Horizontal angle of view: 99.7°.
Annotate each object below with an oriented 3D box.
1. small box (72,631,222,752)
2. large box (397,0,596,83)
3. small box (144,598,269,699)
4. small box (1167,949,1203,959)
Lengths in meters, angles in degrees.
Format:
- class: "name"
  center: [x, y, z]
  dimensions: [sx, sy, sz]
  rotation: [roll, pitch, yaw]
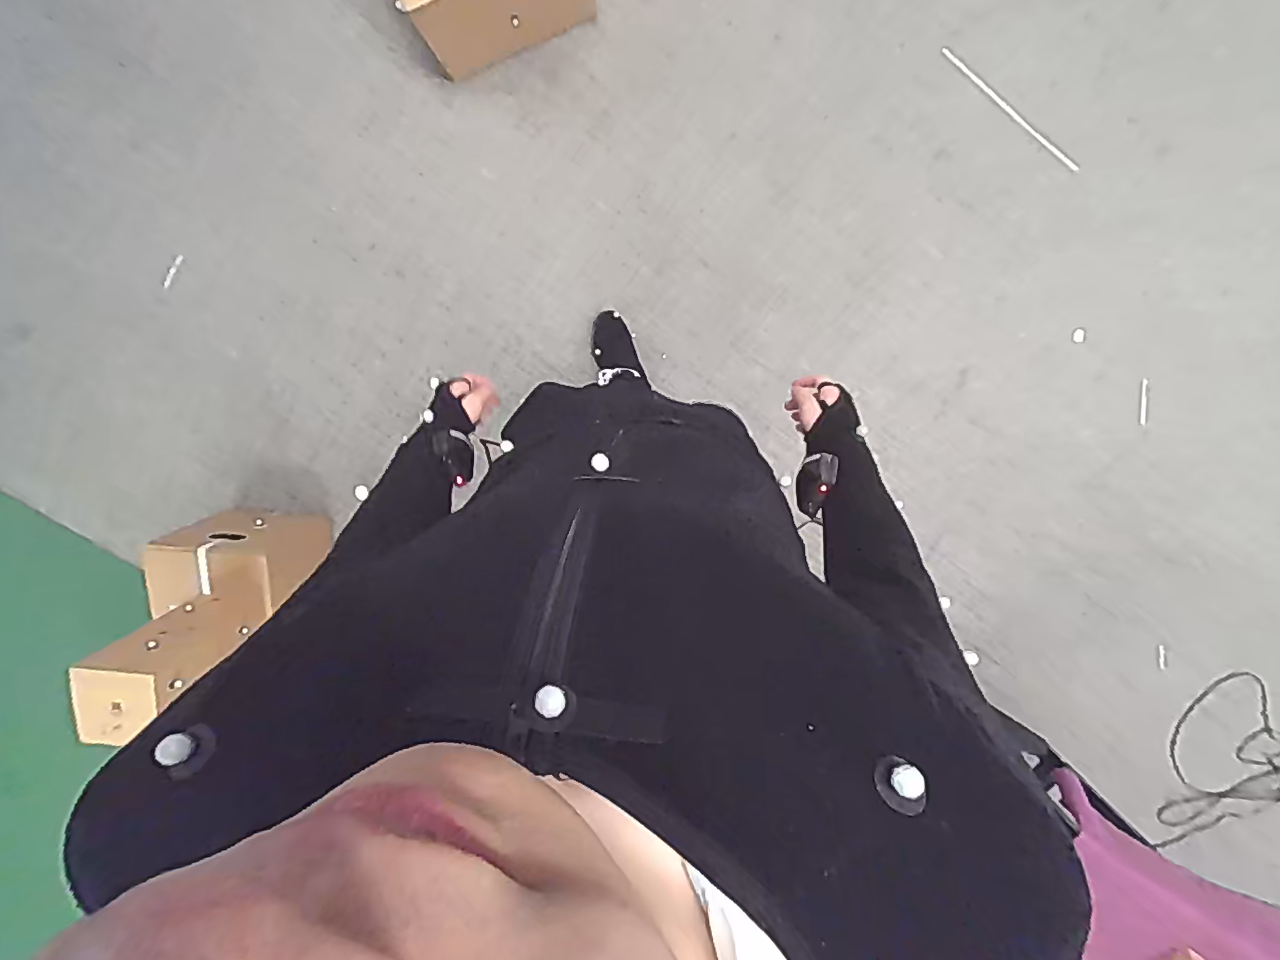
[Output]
- class: "small box"
  center: [-1.039, 0.444, 1.155]
  dimensions: [0.168, 0.176, 0.179]
  rotation: [6, 104, -1]
- class: "large box"
  center: [-0.347, -1.176, 1.177]
  dimensions: [0.408, 0.320, 0.320]
  rotation: [-22, 102, 6]
- class: "small box"
  center: [-1.042, 0.403, 1.315]
  dimensions: [0.168, 0.176, 0.179]
  rotation: [4, 105, -2]
- class: "small box"
  center: [1.163, 1.111, 1.091]
  dimensions: [0.168, 0.176, 0.179]
  rotation: [34, 102, -8]
